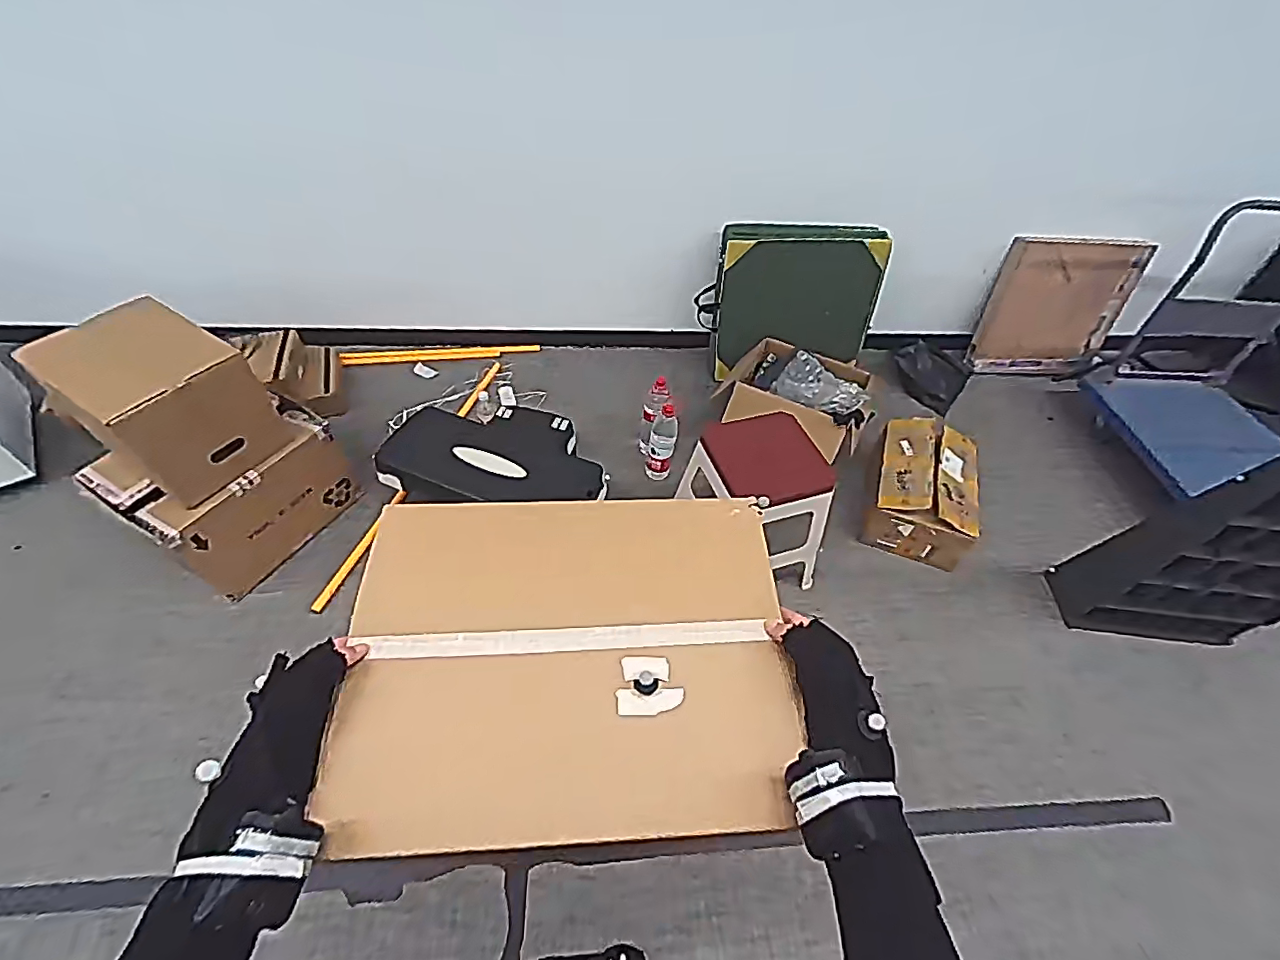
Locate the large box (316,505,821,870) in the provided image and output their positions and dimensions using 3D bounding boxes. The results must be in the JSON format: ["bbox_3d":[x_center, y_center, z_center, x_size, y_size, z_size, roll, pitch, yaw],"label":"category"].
[{"bbox_3d":[-0.068,0.243,0.627,0.408,0.320,0.320,0,54,-5],"label":"large box"}]
